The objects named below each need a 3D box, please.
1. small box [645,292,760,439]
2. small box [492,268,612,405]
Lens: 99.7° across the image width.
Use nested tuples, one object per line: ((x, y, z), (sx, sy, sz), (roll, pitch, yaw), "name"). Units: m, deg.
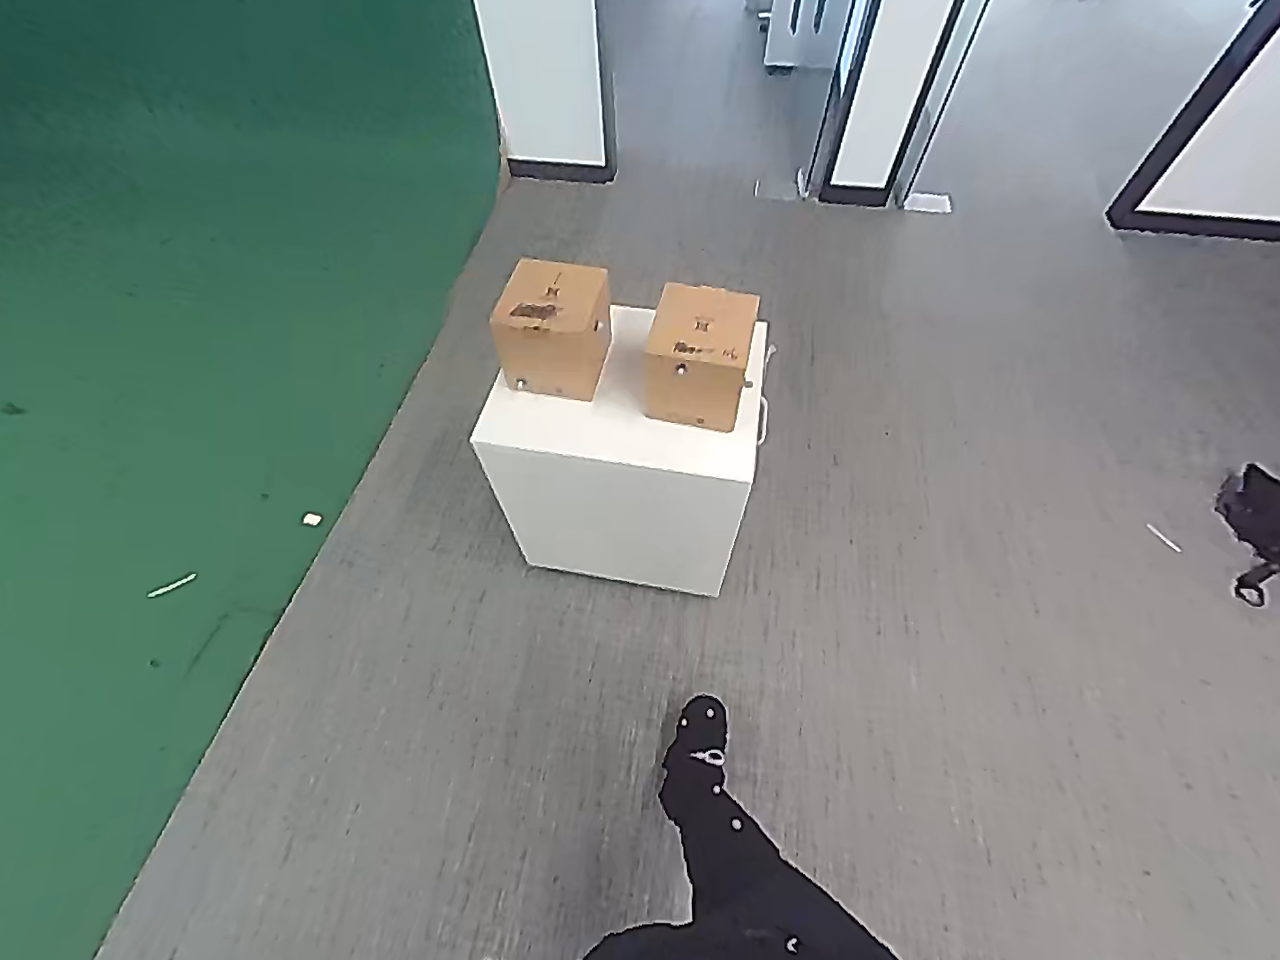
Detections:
((0.107, -0.201, 0.962), (0.168, 0.176, 0.179), (12, 58, 10), "small box")
((-0.151, -0.263, 1.007), (0.168, 0.176, 0.179), (10, 58, 7), "small box")
